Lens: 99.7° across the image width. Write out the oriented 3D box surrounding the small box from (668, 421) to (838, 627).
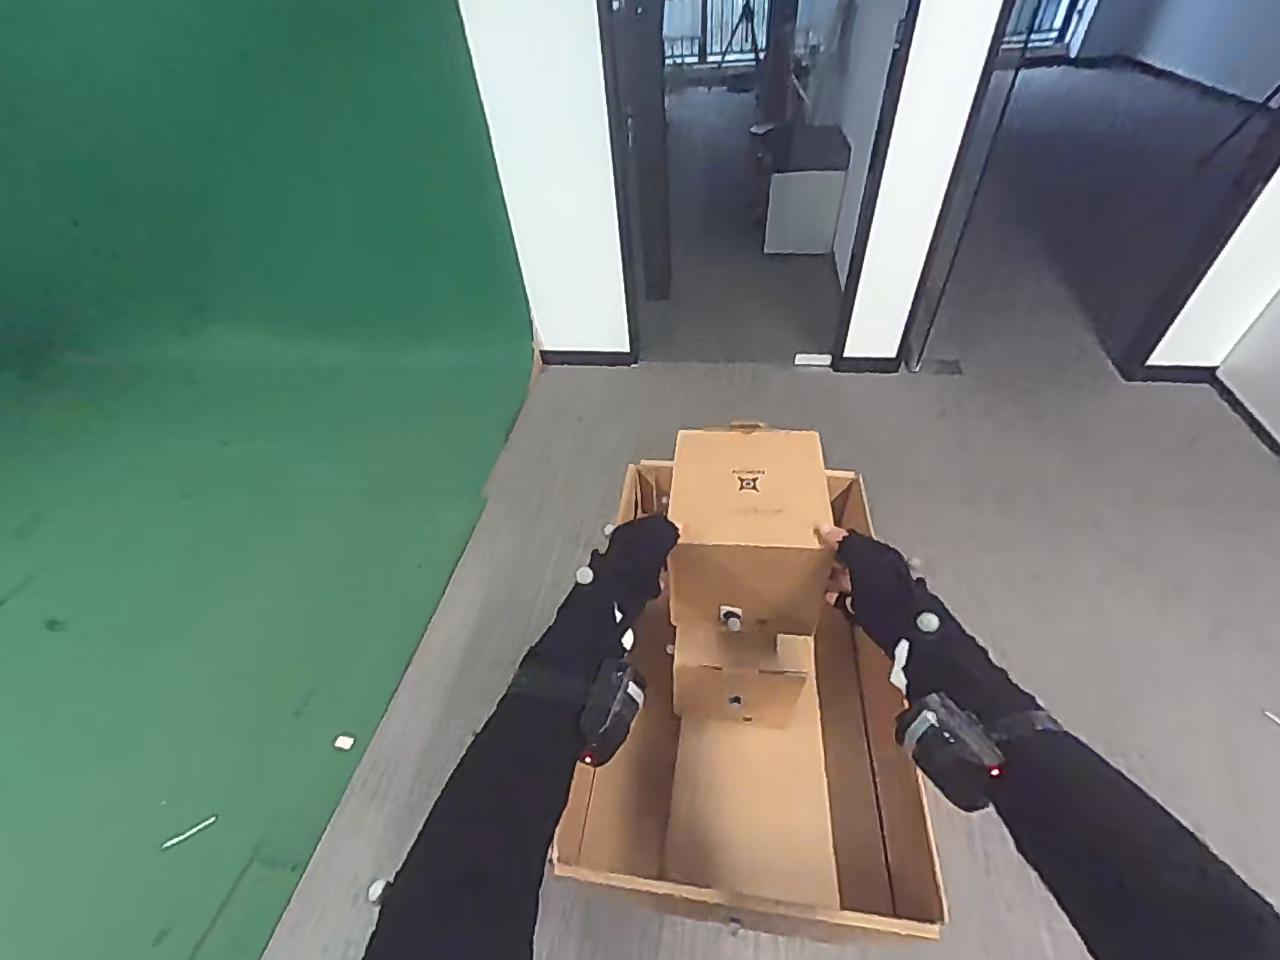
[{"bbox_3d":[0.125,0.049,0.637,0.168,0.176,0.179,1,46,9],"label":"small box"}]
